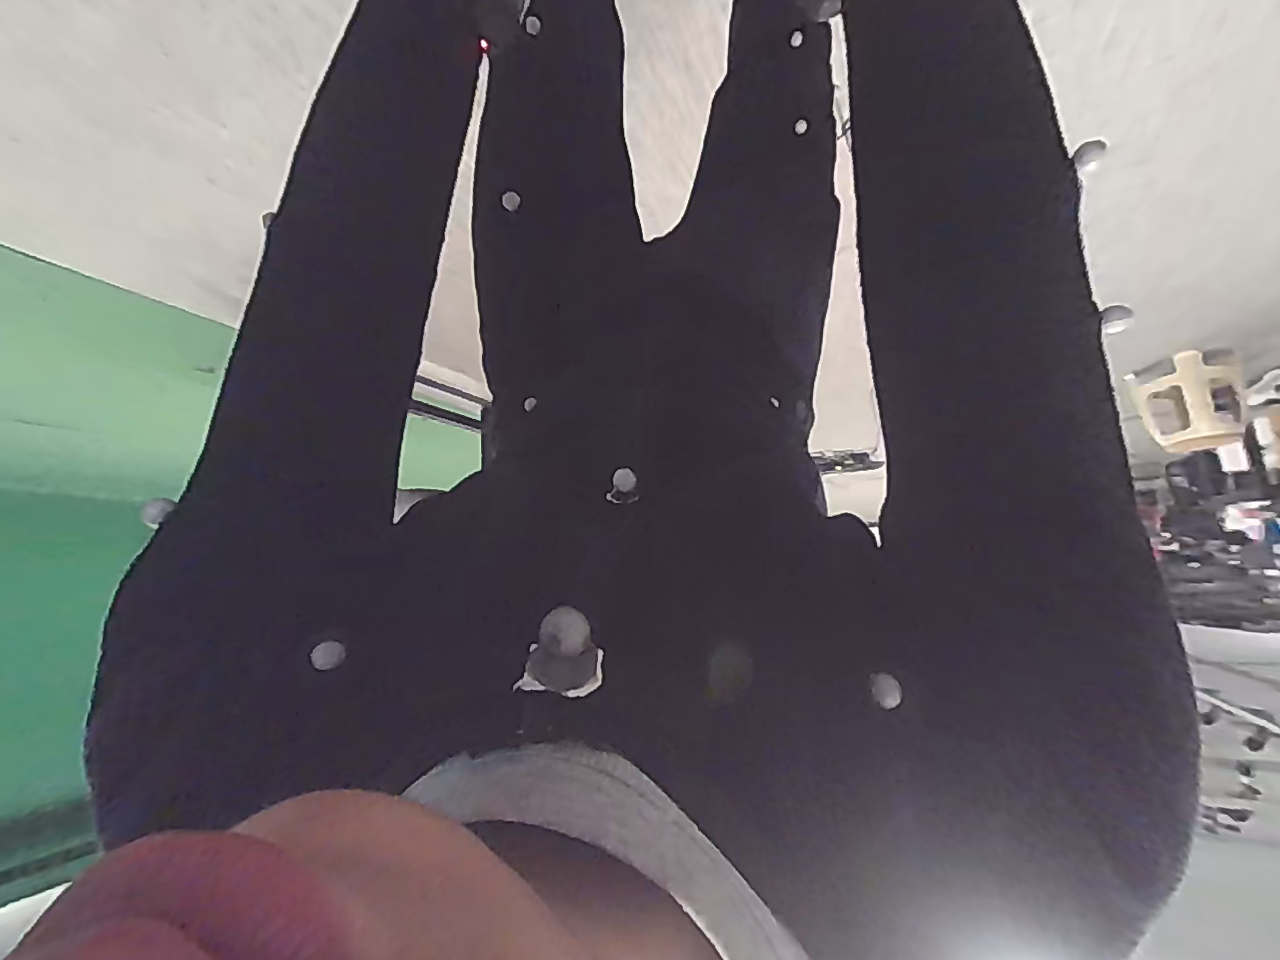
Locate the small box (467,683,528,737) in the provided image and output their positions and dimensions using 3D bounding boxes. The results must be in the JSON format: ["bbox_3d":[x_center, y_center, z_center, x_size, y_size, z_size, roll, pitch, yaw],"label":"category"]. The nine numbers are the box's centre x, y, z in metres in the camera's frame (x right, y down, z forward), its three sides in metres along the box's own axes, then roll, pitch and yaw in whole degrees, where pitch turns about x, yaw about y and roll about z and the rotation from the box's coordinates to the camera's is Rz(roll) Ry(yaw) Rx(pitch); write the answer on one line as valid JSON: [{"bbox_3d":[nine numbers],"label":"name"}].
[{"bbox_3d":[-0.573,0.922,2.174,0.168,0.176,0.179,-14,166,23],"label":"small box"}]
